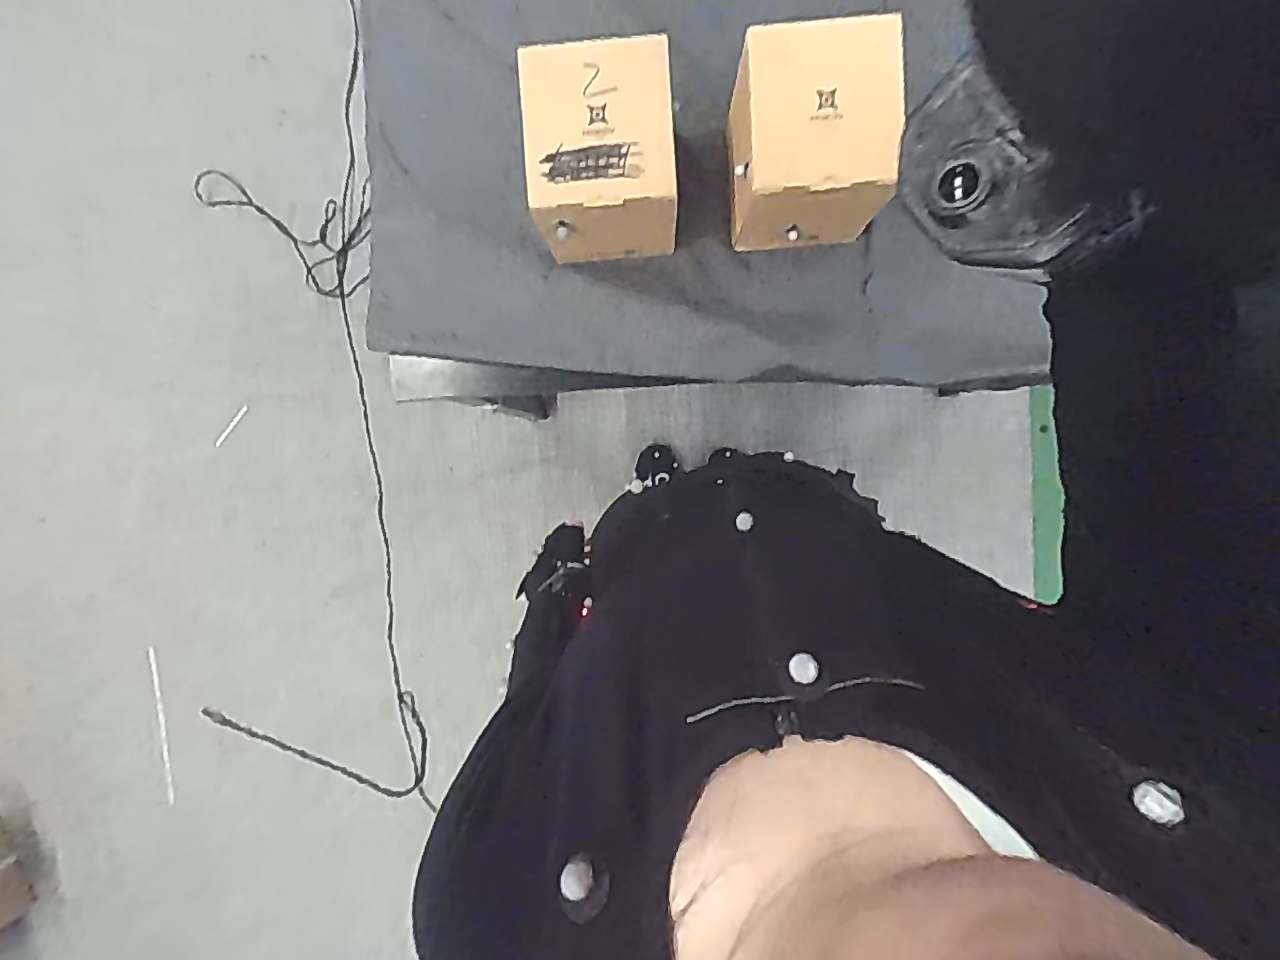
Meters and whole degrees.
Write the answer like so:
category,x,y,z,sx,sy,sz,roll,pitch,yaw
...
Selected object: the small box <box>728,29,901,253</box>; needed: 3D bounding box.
category,x,y,z,sx,sy,sz,roll,pitch,yaw
small box,0.205,-0.407,0.677,0.168,0.176,0.179,-3,93,2
